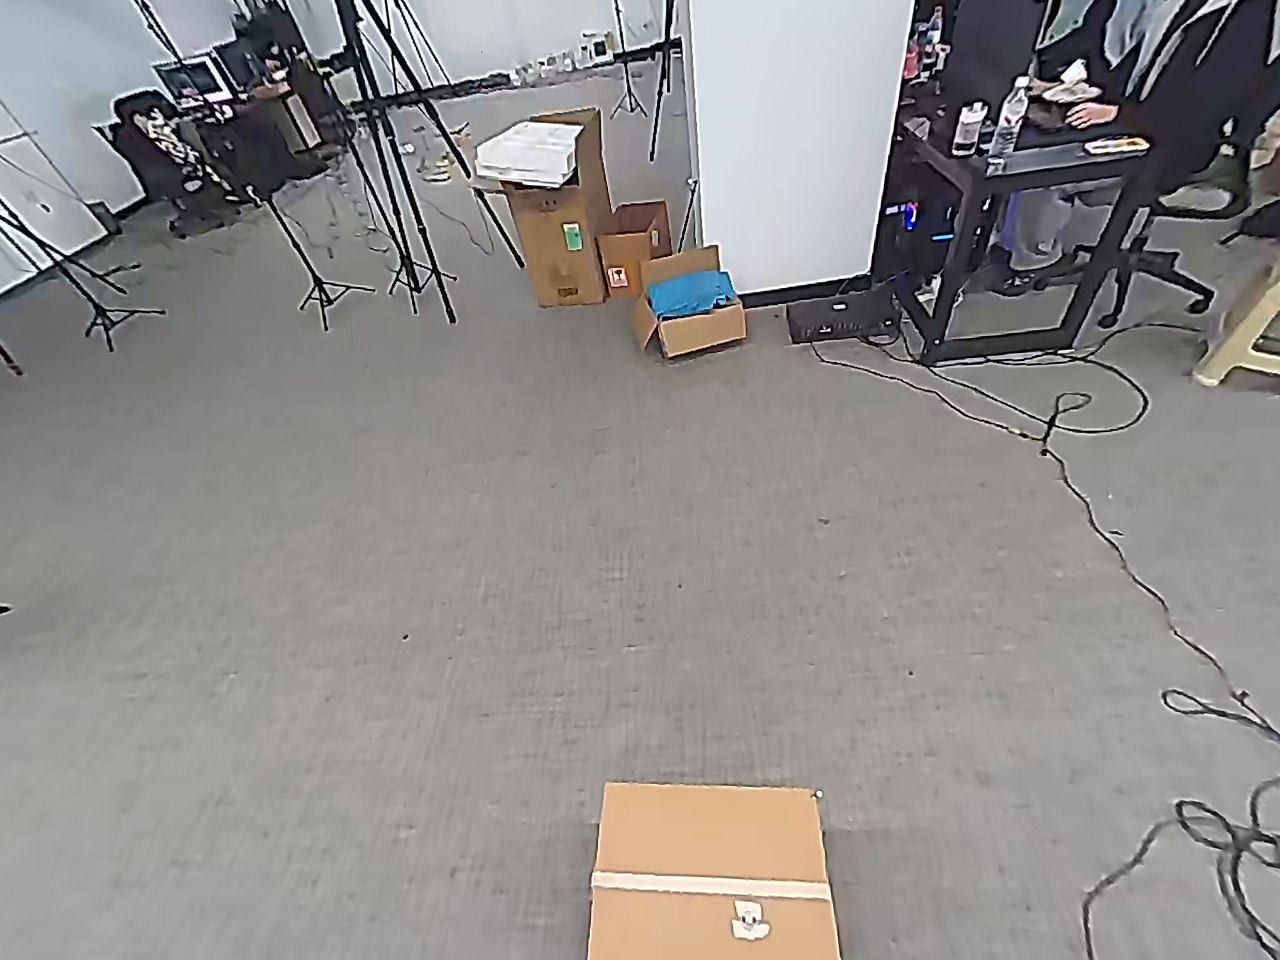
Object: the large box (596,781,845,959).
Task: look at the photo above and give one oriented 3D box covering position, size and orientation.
[{"bbox_3d":[0.149,0.800,1.039,0.408,0.320,0.320,-3,46,9],"label":"large box"}]
